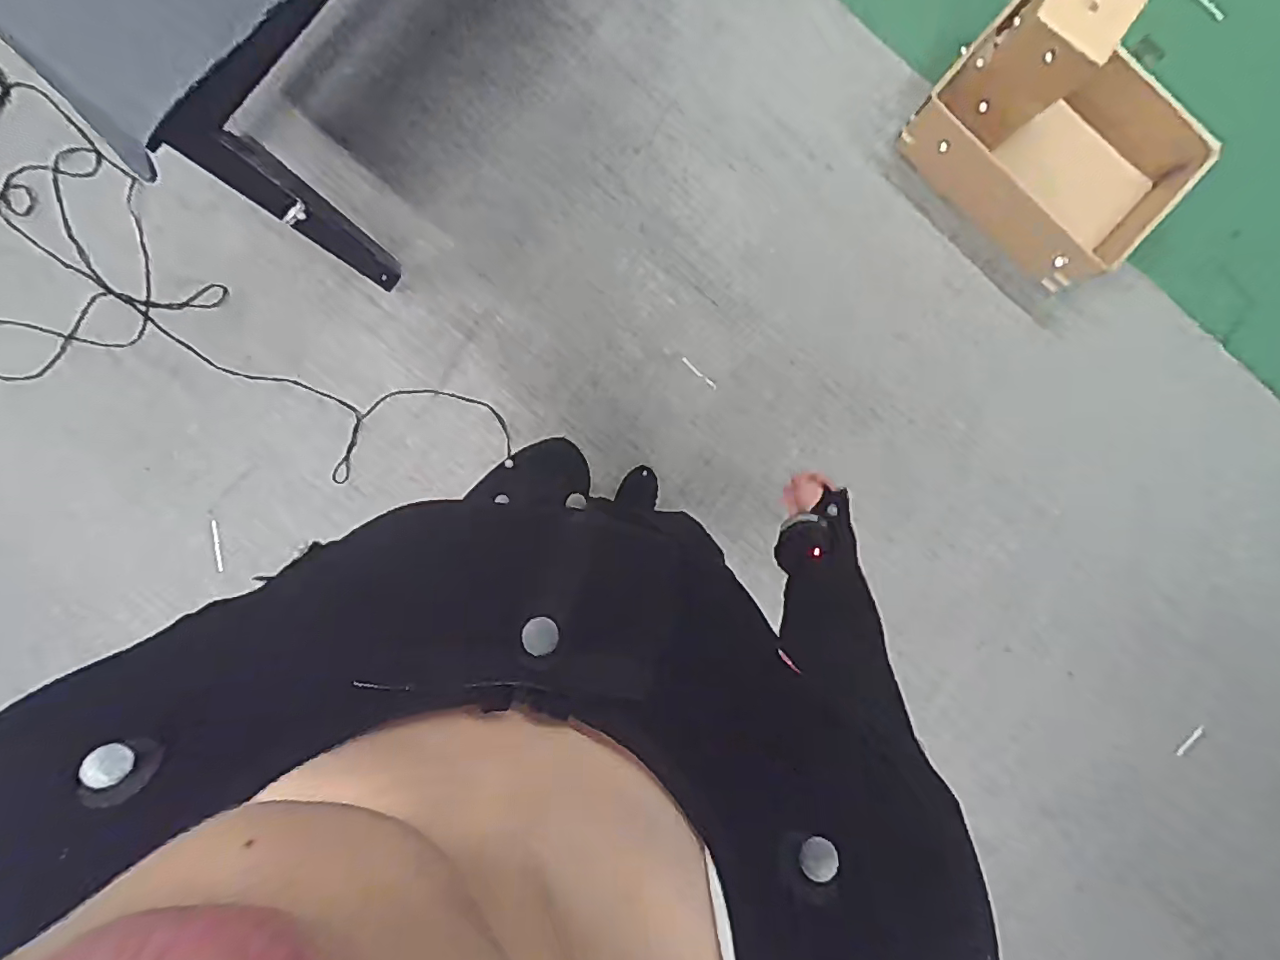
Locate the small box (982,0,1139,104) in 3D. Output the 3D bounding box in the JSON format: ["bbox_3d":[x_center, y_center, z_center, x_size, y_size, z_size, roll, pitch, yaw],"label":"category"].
[{"bbox_3d":[0.893,-0.965,1.164,0.179,0.176,0.168,33,94,-5],"label":"small box"}]

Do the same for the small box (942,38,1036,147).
[{"bbox_3d":[0.893,-0.972,1.328,0.179,0.176,0.168,43,92,-3],"label":"small box"}]
